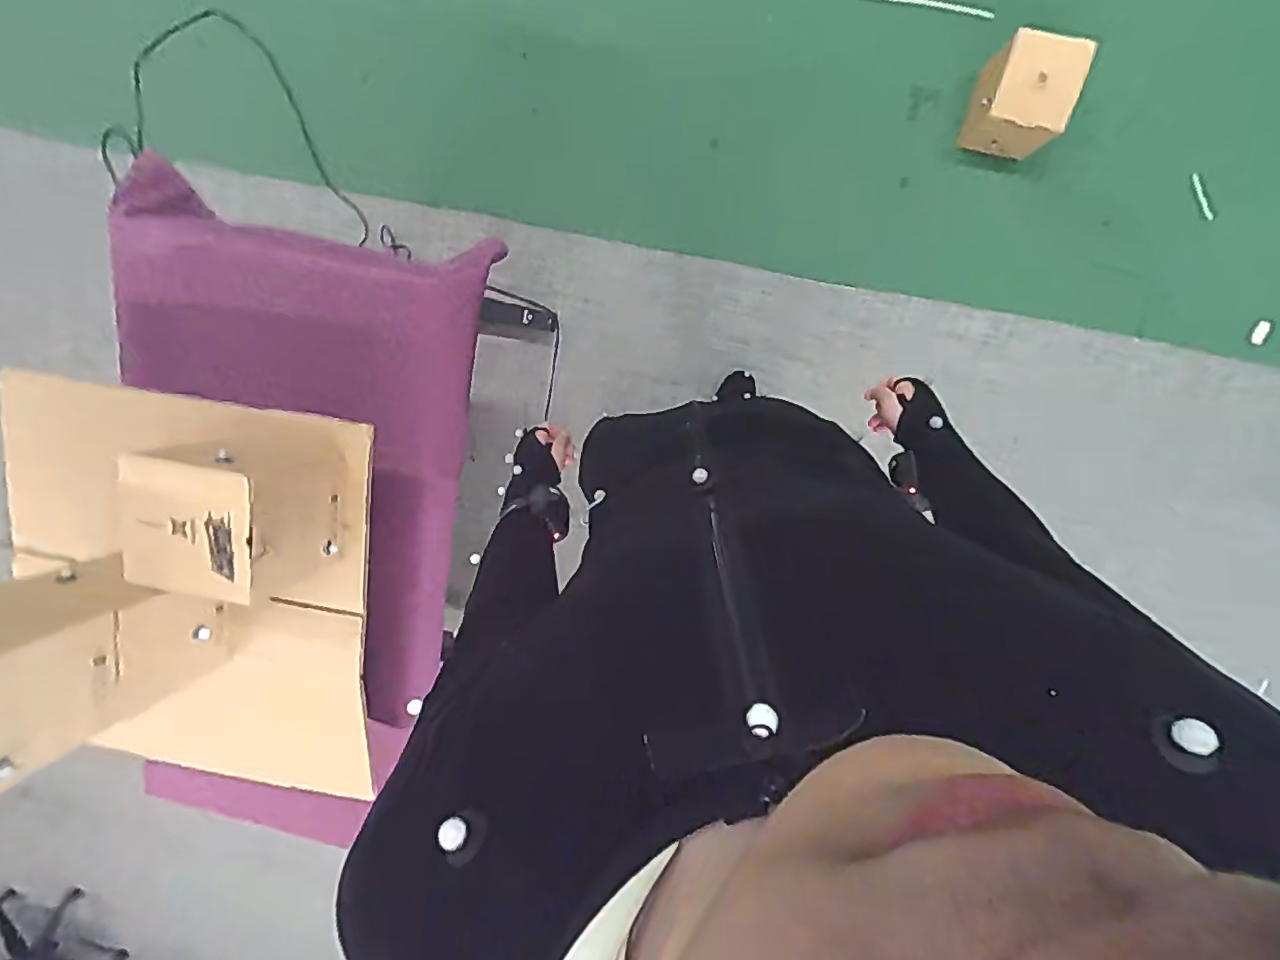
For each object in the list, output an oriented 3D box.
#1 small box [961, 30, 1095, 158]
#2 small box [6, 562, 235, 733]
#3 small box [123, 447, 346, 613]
[{"bbox_3d":[0.880,-0.880,1.249,0.168,0.176,0.179,14,105,4],"label":"small box"},{"bbox_3d":[-0.731,0.224,0.777,0.179,0.176,0.168,10,101,4],"label":"small box"},{"bbox_3d":[-0.524,0.055,0.722,0.179,0.176,0.168,9,101,6],"label":"small box"}]
